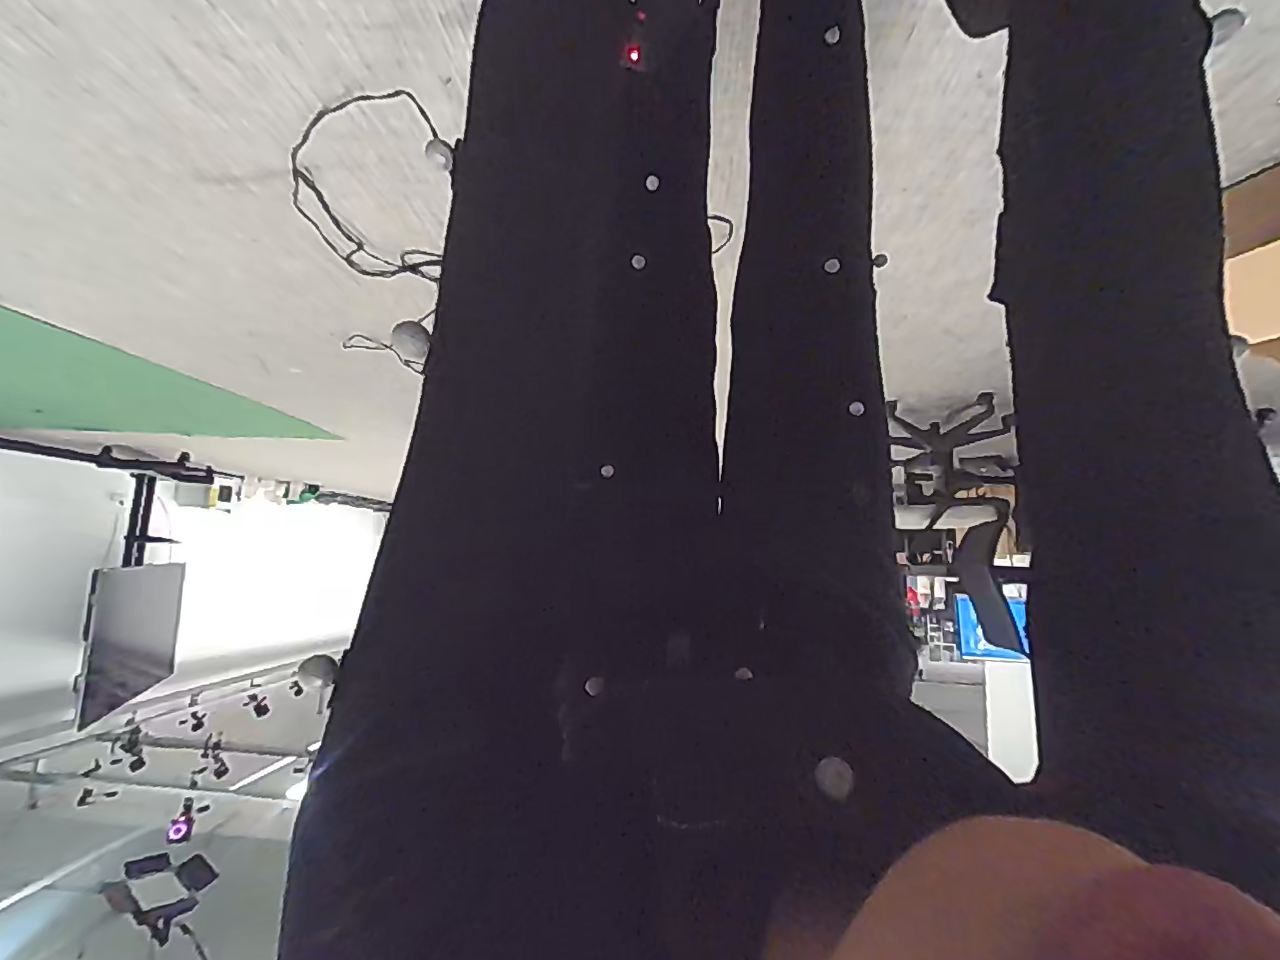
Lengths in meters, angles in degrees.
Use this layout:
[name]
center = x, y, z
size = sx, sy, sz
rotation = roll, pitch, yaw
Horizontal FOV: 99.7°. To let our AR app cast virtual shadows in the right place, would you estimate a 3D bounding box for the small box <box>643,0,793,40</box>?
[small box]
center = 0.081, -0.608, 0.552
size = 0.168, 0.176, 0.179
rotation = -7, 174, -1
